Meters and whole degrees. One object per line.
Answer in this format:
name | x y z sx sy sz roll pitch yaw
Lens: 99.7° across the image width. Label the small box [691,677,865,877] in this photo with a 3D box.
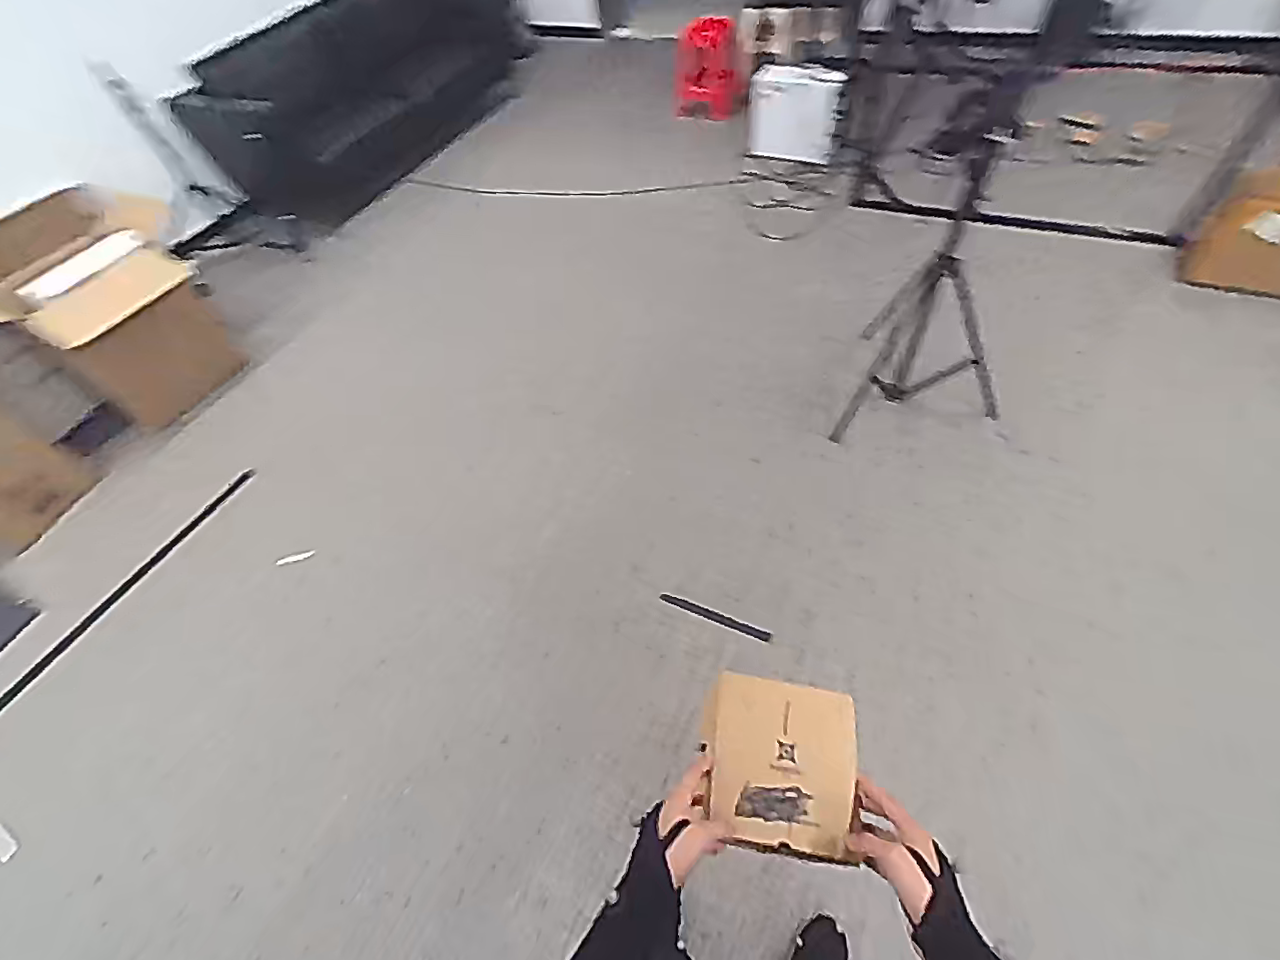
small box | 0.160 0.366 0.666 0.168 0.176 0.179 9 55 2
